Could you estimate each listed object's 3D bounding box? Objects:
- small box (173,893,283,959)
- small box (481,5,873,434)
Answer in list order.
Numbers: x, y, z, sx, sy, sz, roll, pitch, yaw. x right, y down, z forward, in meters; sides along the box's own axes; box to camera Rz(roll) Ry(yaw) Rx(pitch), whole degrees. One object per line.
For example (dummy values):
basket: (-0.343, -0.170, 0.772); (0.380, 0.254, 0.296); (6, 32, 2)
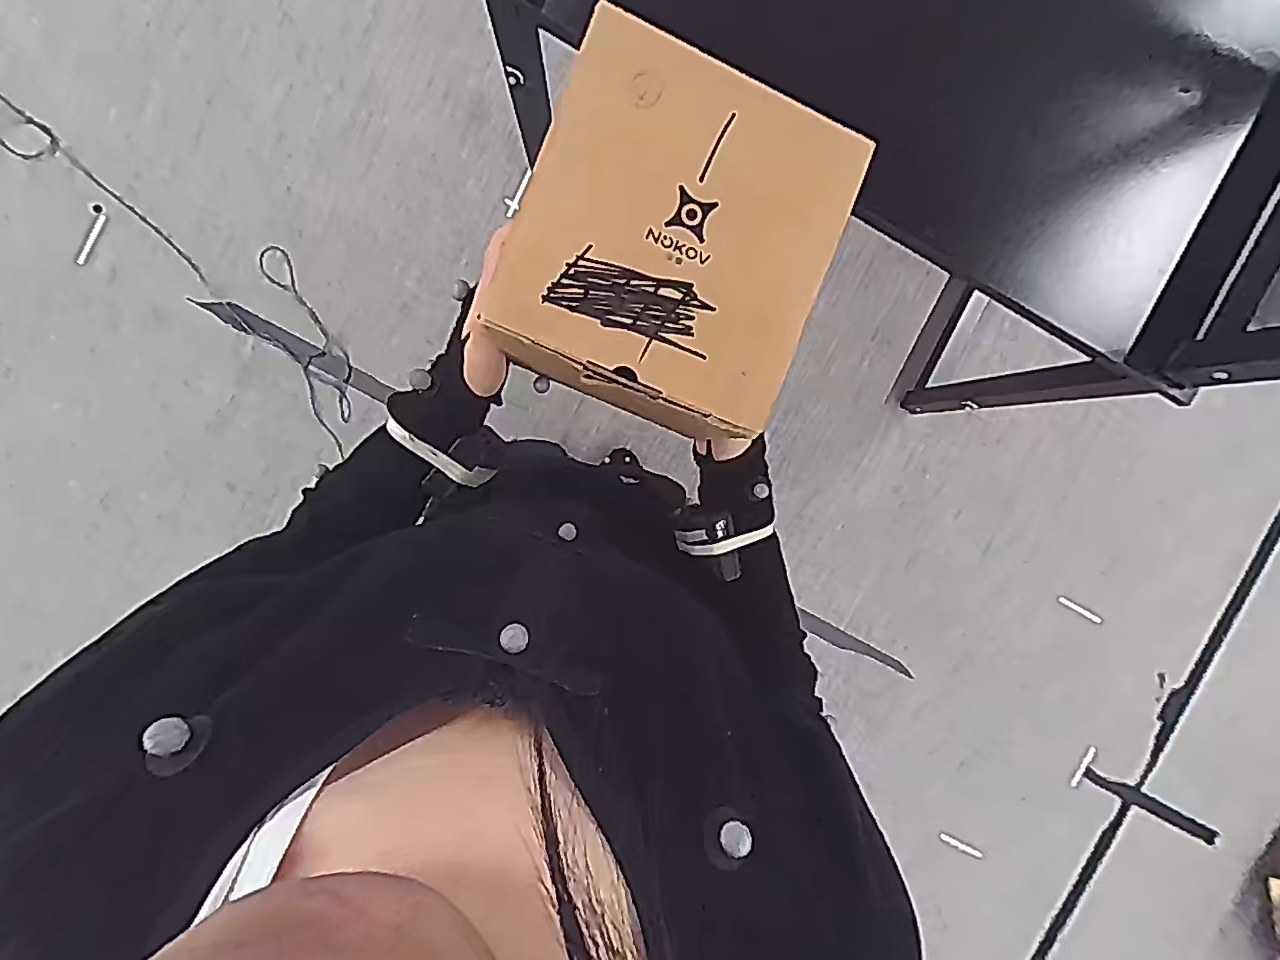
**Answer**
small box: (-0.982, 1.131, 1.259); (0.168, 0.176, 0.179); (30, 90, -6)
small box: (0.014, -0.139, 0.366); (0.168, 0.176, 0.179); (22, 91, -8)
